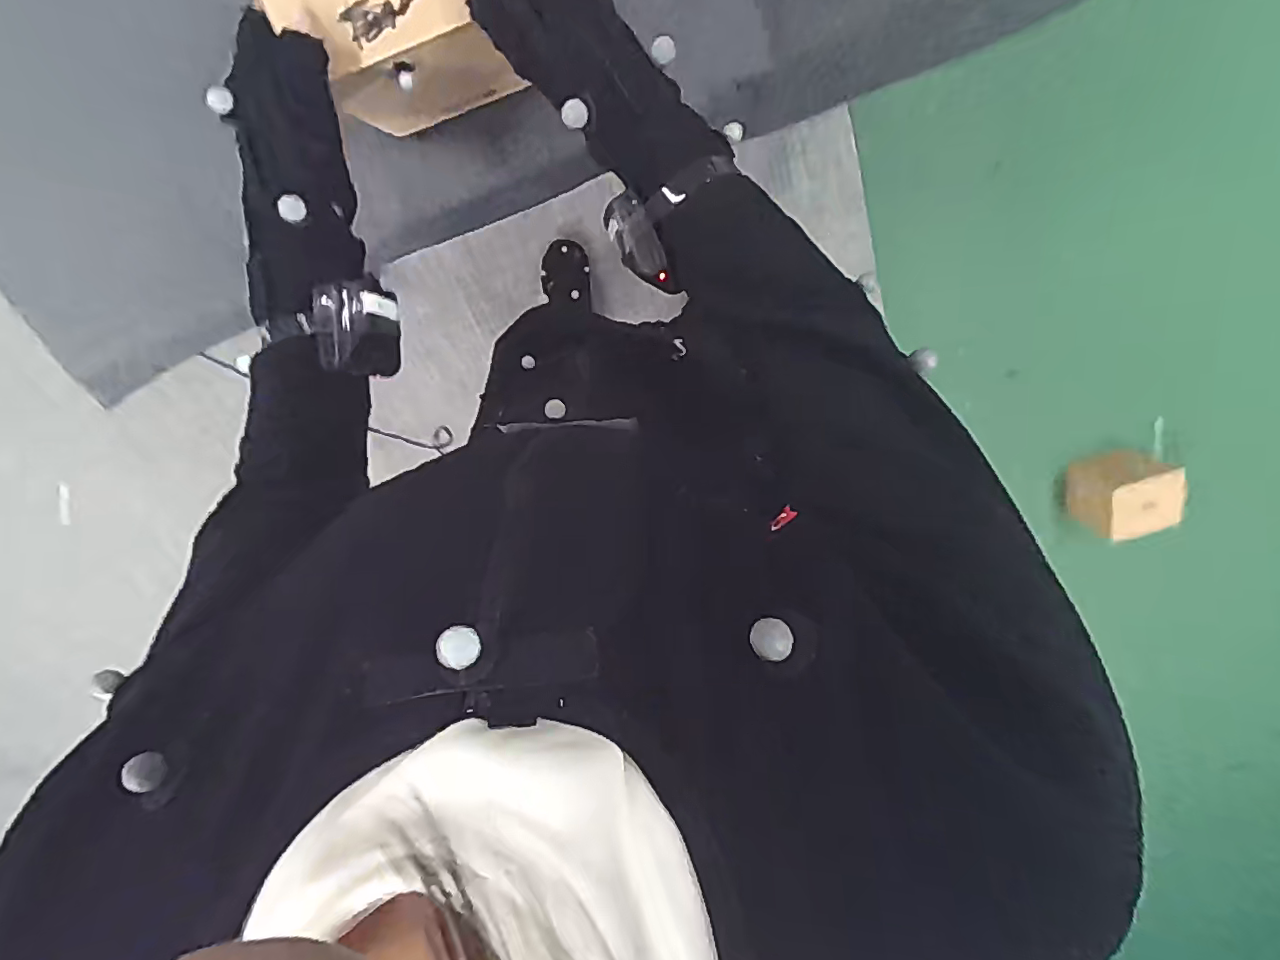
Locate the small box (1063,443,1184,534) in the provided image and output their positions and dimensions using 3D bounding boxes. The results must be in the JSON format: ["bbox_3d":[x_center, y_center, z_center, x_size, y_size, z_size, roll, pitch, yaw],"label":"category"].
[{"bbox_3d":[1.301,0.016,1.466,0.179,0.176,0.168,-16,113,6],"label":"small box"}]

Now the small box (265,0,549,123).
[{"bbox_3d":[-0.180,-0.401,0.398,0.168,0.176,0.179,-17,114,6],"label":"small box"}]
